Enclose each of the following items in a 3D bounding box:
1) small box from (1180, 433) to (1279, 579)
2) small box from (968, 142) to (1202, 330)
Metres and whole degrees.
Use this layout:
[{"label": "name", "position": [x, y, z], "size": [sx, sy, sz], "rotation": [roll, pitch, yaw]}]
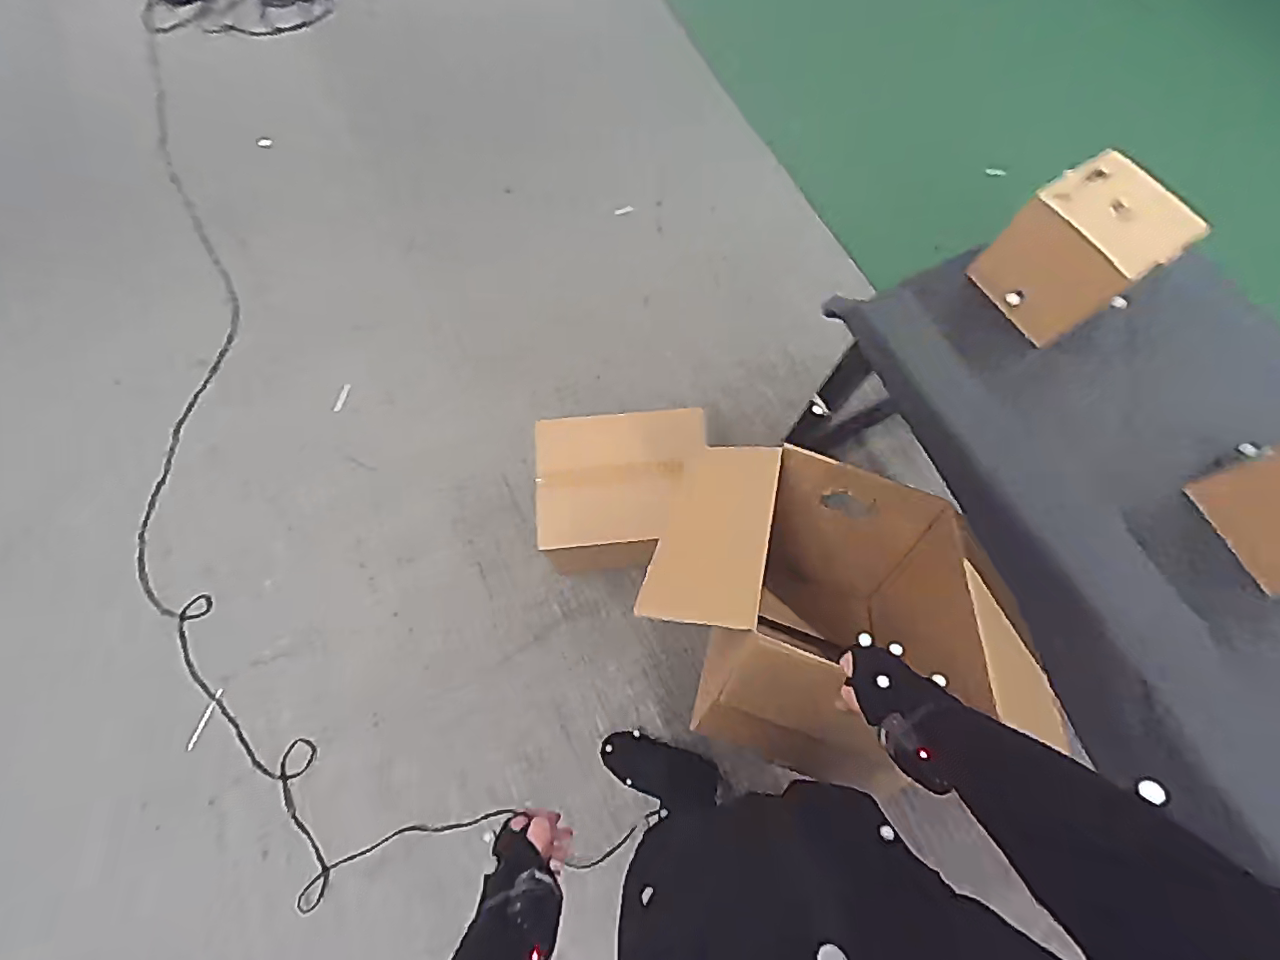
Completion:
[{"label": "small box", "position": [0.901, 0.021, 0.712], "size": [0.168, 0.176, 0.179], "rotation": [-22, 73, -10]}, {"label": "small box", "position": [0.659, -0.356, 0.824], "size": [0.168, 0.176, 0.179], "rotation": [-31, 77, -12]}]
